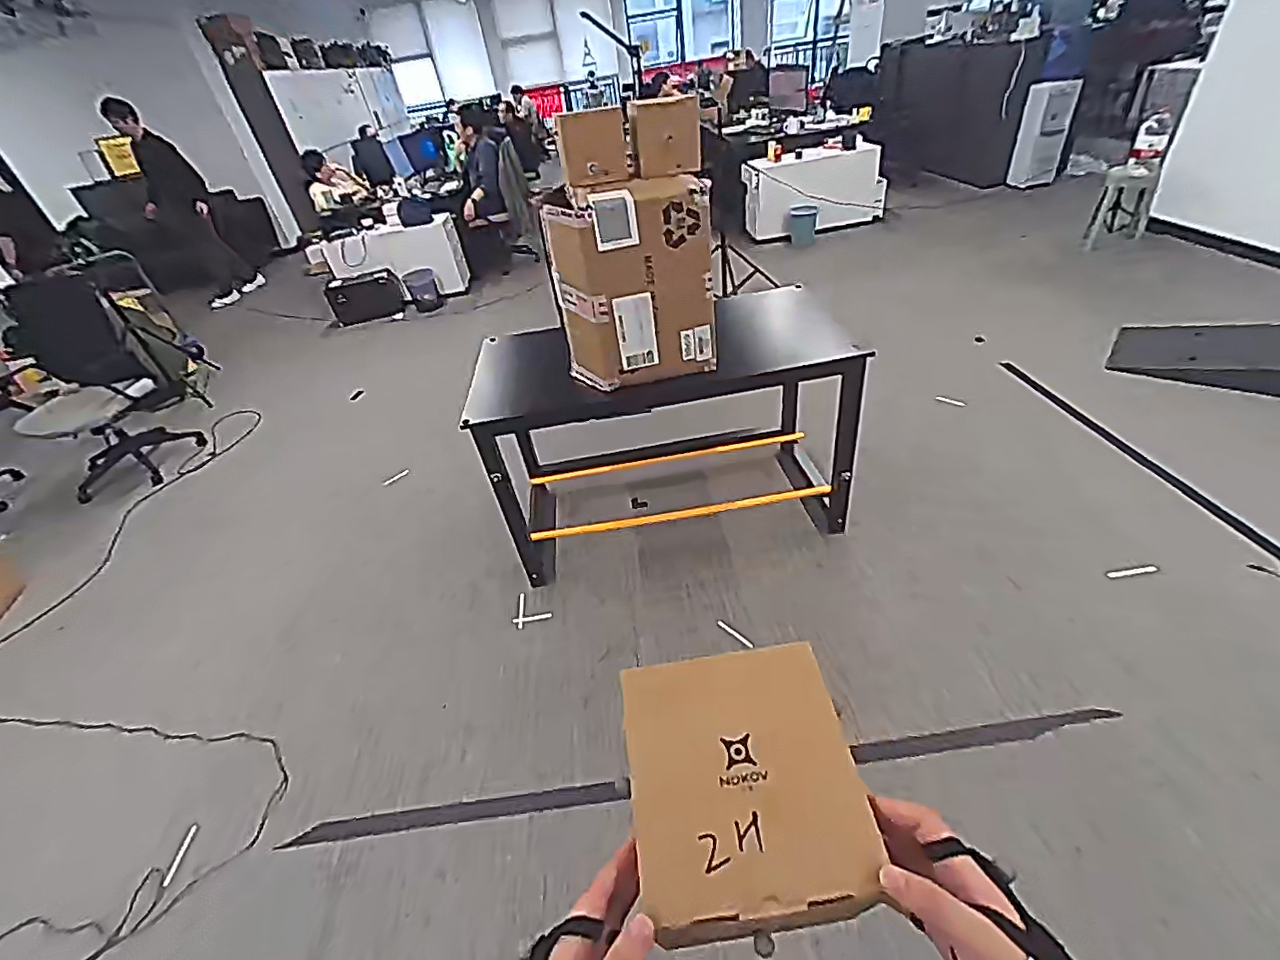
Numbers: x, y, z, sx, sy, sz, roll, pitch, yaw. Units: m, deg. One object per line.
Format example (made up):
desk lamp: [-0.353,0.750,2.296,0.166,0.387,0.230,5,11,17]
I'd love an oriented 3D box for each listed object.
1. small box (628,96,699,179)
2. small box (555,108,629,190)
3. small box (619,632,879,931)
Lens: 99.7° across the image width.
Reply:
small box: [0.065,-0.936,1.481,0.168,0.176,0.179,-9,38,-4]
small box: [-0.132,-0.907,1.483,0.168,0.176,0.179,-14,37,-6]
small box: [0.077,0.261,0.469,0.168,0.176,0.179,-9,45,0]
